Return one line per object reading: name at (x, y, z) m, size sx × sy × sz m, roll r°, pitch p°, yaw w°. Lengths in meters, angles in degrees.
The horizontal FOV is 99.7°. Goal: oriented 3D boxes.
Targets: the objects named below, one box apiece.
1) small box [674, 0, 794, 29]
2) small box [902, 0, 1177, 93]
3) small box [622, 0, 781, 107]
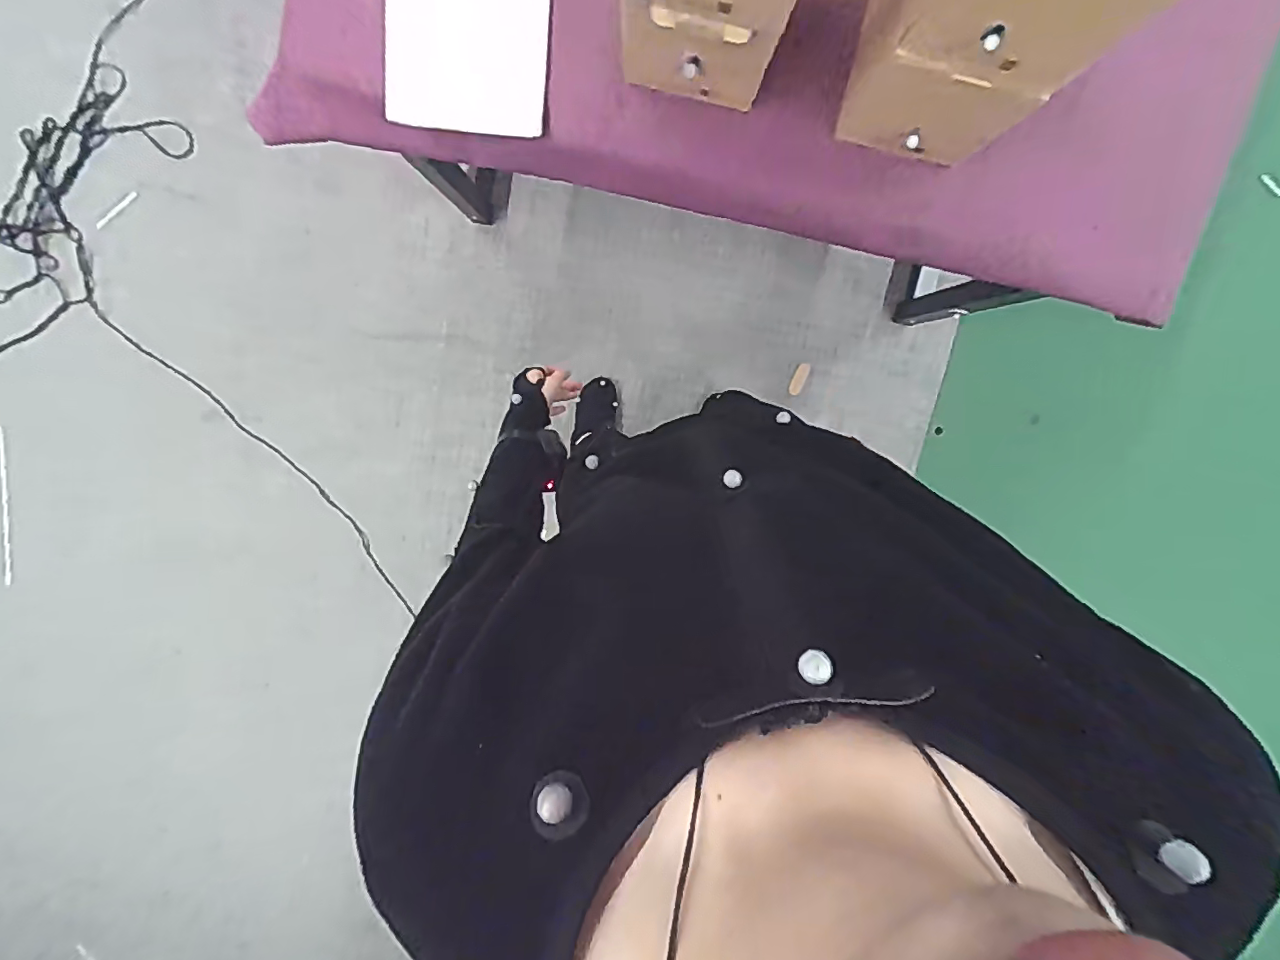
small box at (0.080, -0.522, 0.436) m, size 0.168 × 0.176 × 0.179 m, roll 13°, pitch 99°, yaw -2°
small box at (0.348, -0.472, 0.445) m, size 0.168 × 0.176 × 0.179 m, roll 13°, pitch 99°, yaw -2°
small box at (0.081, -0.557, 0.598) m, size 0.168 × 0.176 × 0.179 m, roll 13°, pitch 100°, yaw -2°
